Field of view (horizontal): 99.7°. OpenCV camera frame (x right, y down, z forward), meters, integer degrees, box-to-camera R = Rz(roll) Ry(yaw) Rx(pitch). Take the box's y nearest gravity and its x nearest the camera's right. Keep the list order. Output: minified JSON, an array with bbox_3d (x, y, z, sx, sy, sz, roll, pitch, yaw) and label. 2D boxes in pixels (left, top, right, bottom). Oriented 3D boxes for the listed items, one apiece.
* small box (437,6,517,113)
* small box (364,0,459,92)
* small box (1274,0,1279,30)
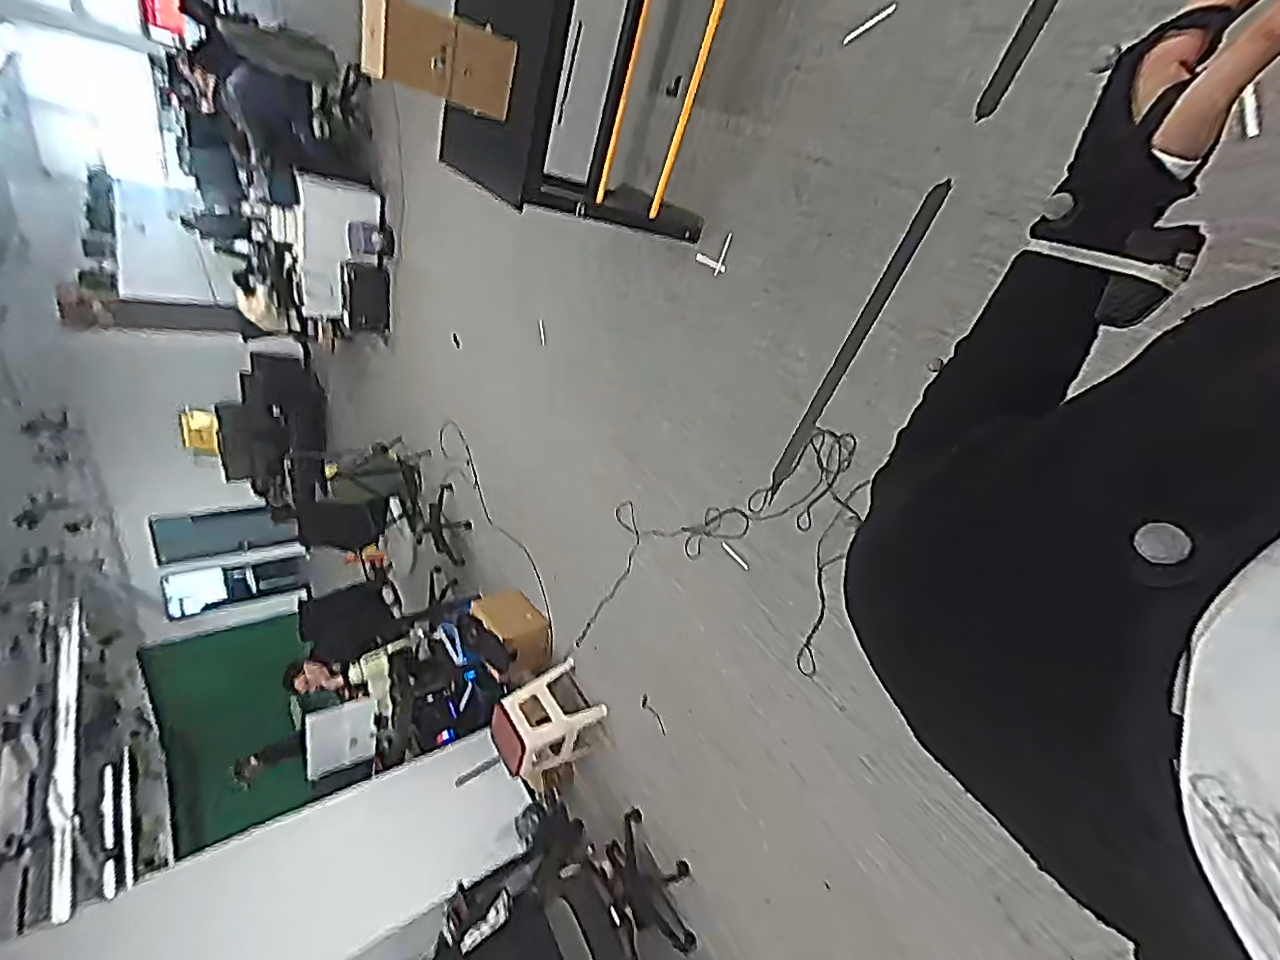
[{"bbox_3d":[-0.446,-1.117,1.444,0.168,0.176,0.179,47,129,34],"label":"small box"},{"bbox_3d":[-0.570,-1.093,1.341,0.179,0.176,0.168,45,130,34],"label":"small box"},{"bbox_3d":[0.429,-0.339,0.248,0.168,0.176,0.179,6,108,48],"label":"small box"}]
